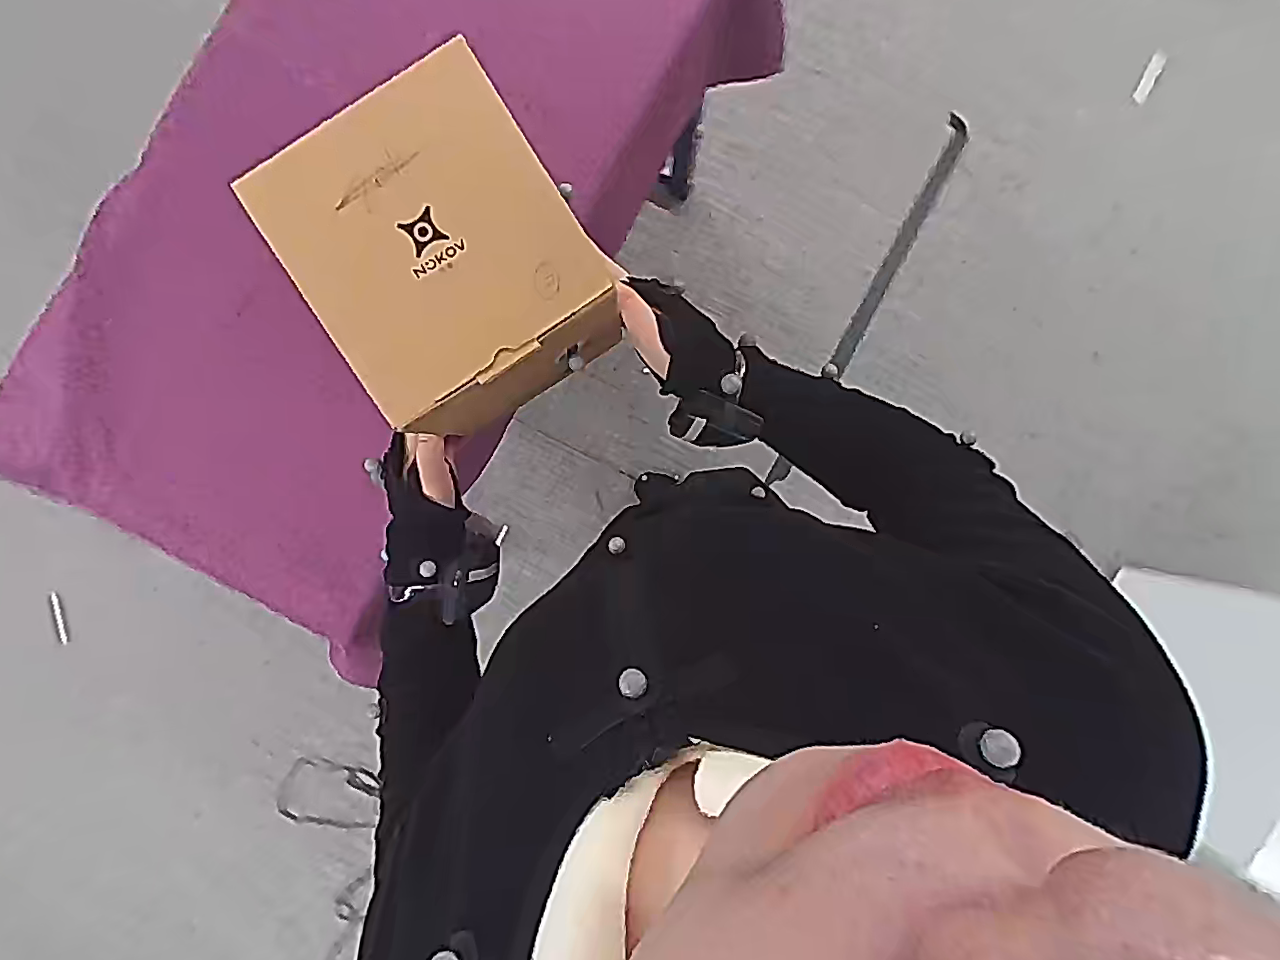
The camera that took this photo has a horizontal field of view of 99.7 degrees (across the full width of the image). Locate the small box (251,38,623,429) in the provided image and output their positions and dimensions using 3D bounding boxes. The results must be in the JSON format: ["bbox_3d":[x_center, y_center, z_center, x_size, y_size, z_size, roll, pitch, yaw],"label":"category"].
[{"bbox_3d":[-0.121,-0.153,0.405,0.168,0.176,0.179,-31,94,1],"label":"small box"}]
